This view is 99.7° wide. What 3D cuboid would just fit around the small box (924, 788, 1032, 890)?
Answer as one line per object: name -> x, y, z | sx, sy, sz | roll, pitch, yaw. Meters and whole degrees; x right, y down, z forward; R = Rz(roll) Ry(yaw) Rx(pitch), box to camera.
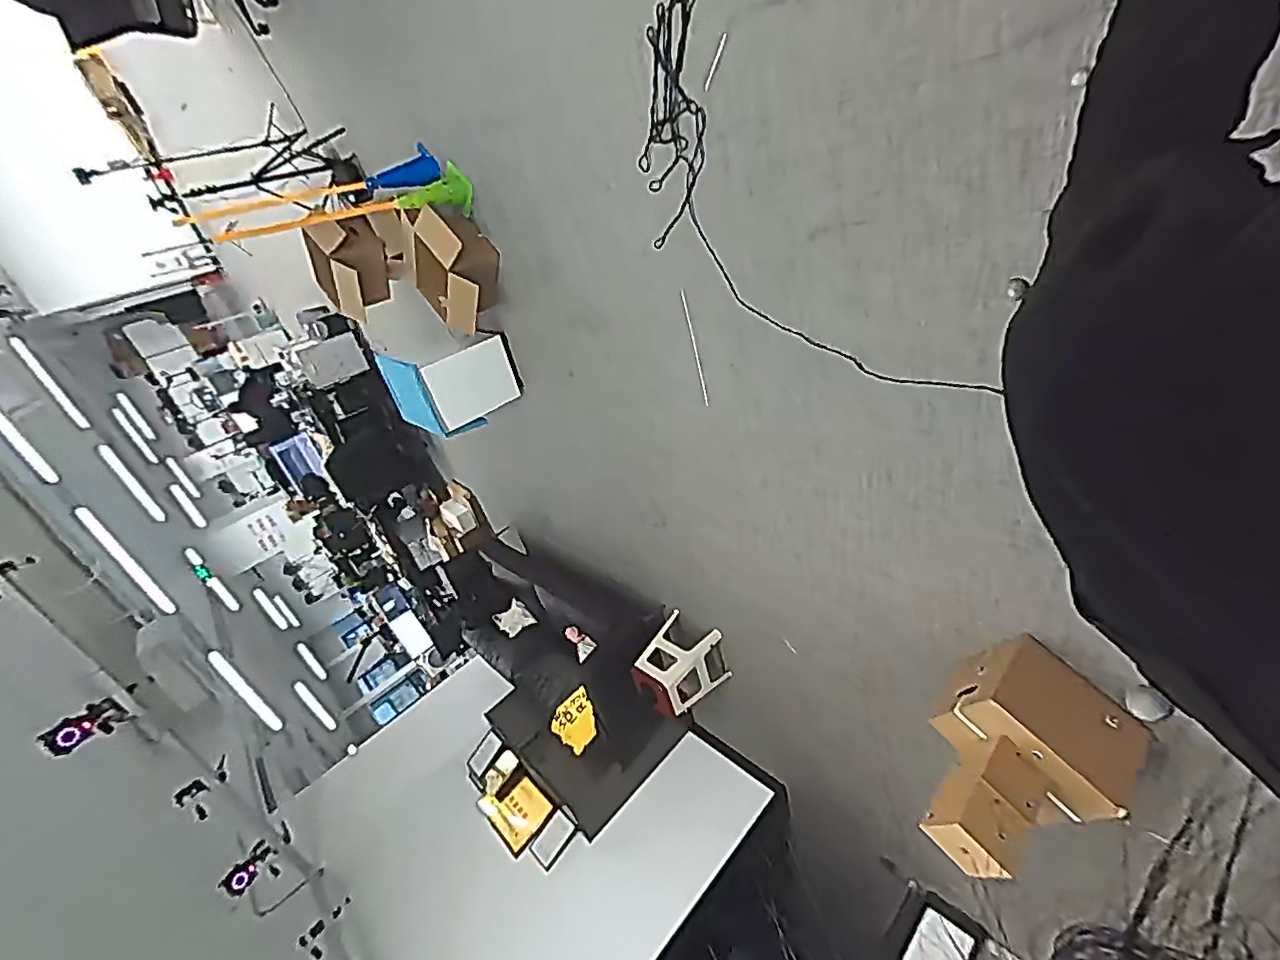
small box -> 0.933, 0.981, 1.486 | 0.168, 0.176, 0.179 | 44, 149, 19
